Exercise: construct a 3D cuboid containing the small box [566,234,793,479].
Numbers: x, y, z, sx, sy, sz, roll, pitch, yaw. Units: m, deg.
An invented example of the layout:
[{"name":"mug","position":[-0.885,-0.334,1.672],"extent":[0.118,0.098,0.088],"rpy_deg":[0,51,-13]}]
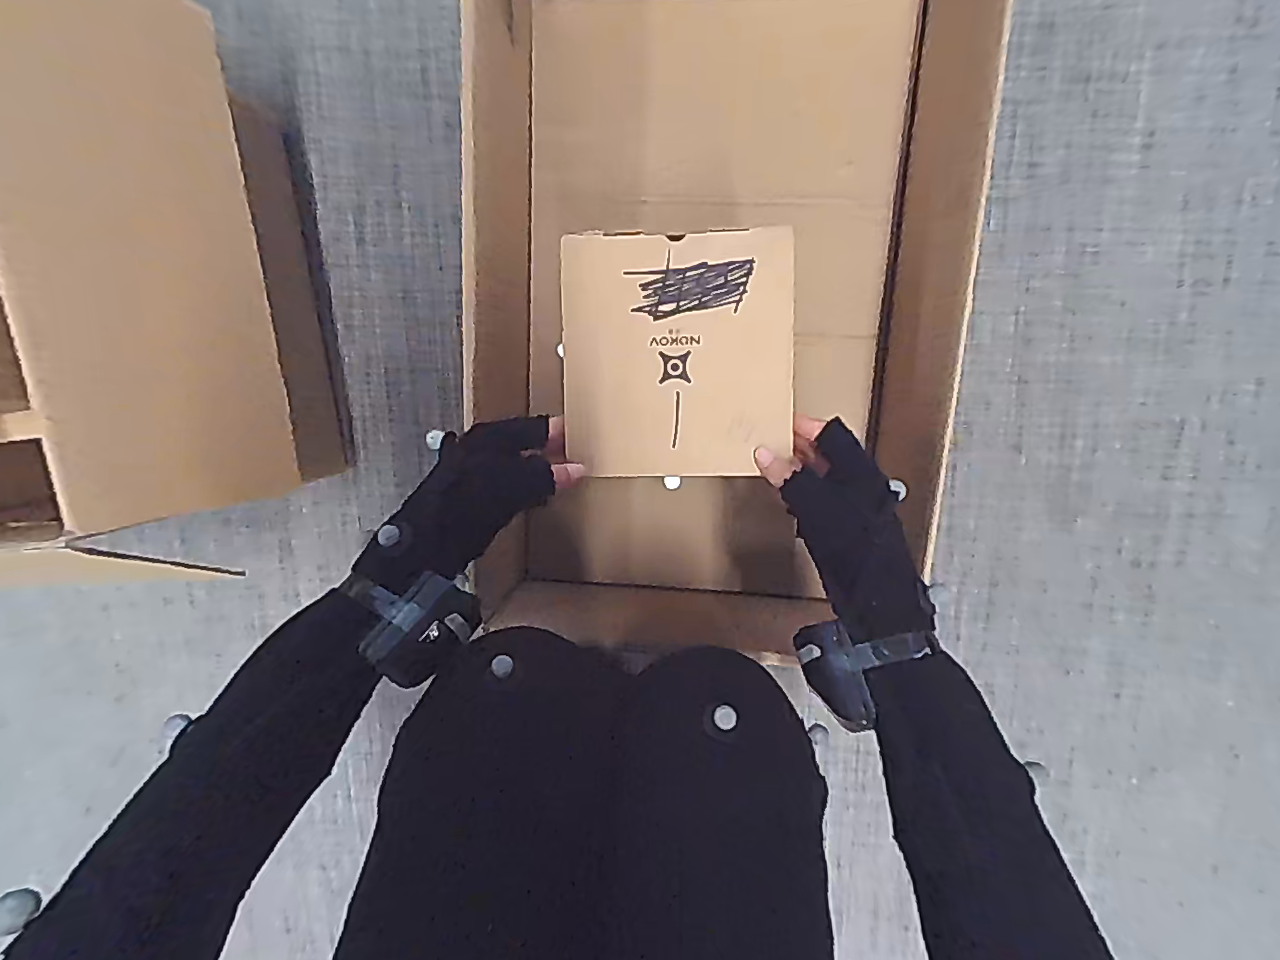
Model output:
[{"name":"small box","position":[0.032,-0.091,0.470],"extent":[0.168,0.176,0.179],"rpy_deg":[-1,93,4]}]
